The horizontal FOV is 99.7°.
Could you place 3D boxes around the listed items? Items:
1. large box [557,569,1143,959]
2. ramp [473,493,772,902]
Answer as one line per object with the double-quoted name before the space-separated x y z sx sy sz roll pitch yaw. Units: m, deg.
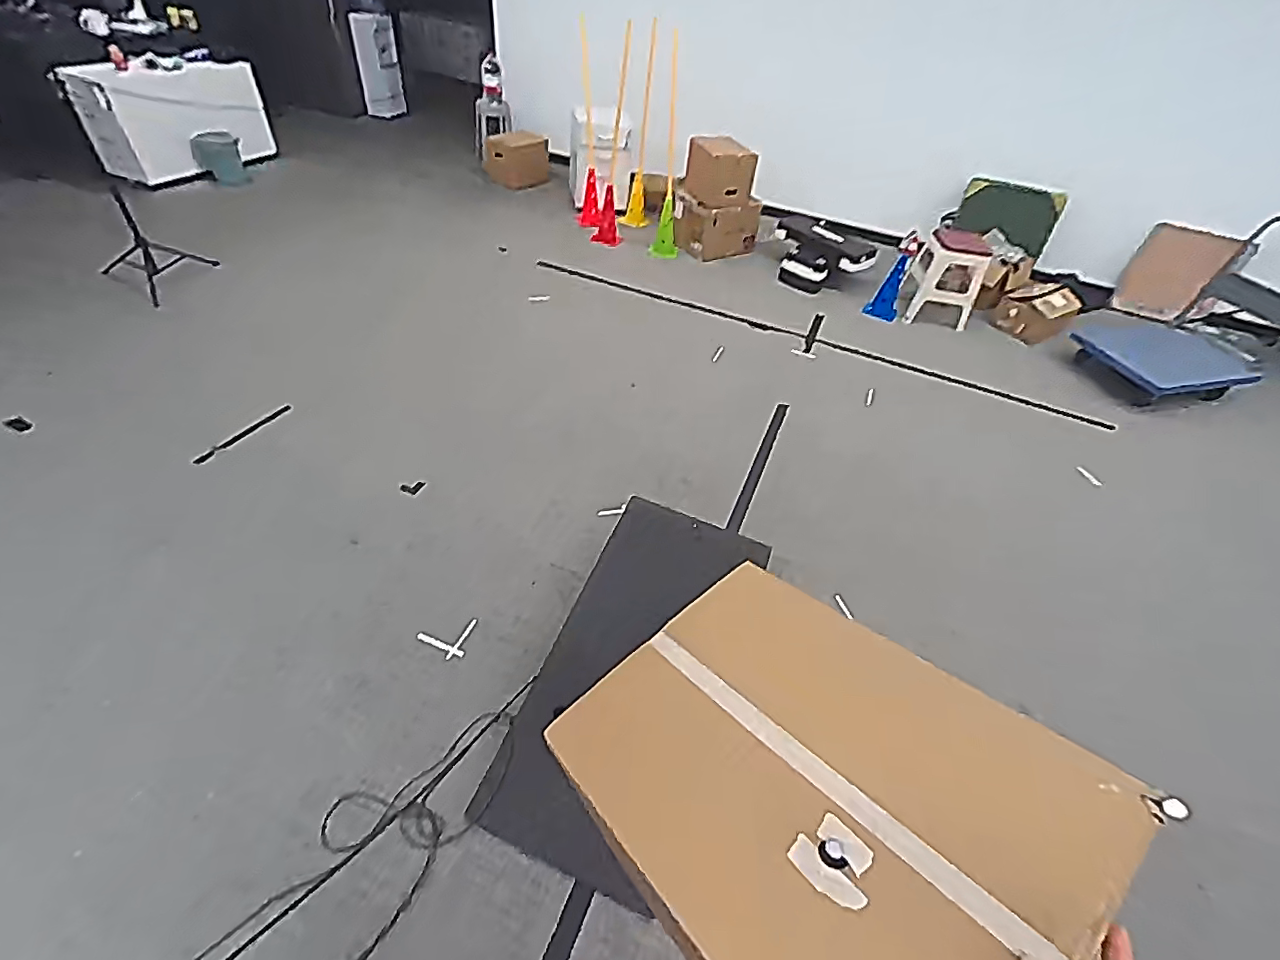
"large box" 0.178 0.368 0.569 0.320 0.320 0.408 -33 37 -24
"ramp" 0.013 0.496 1.516 0.509 0.206 0.991 20 46 9
